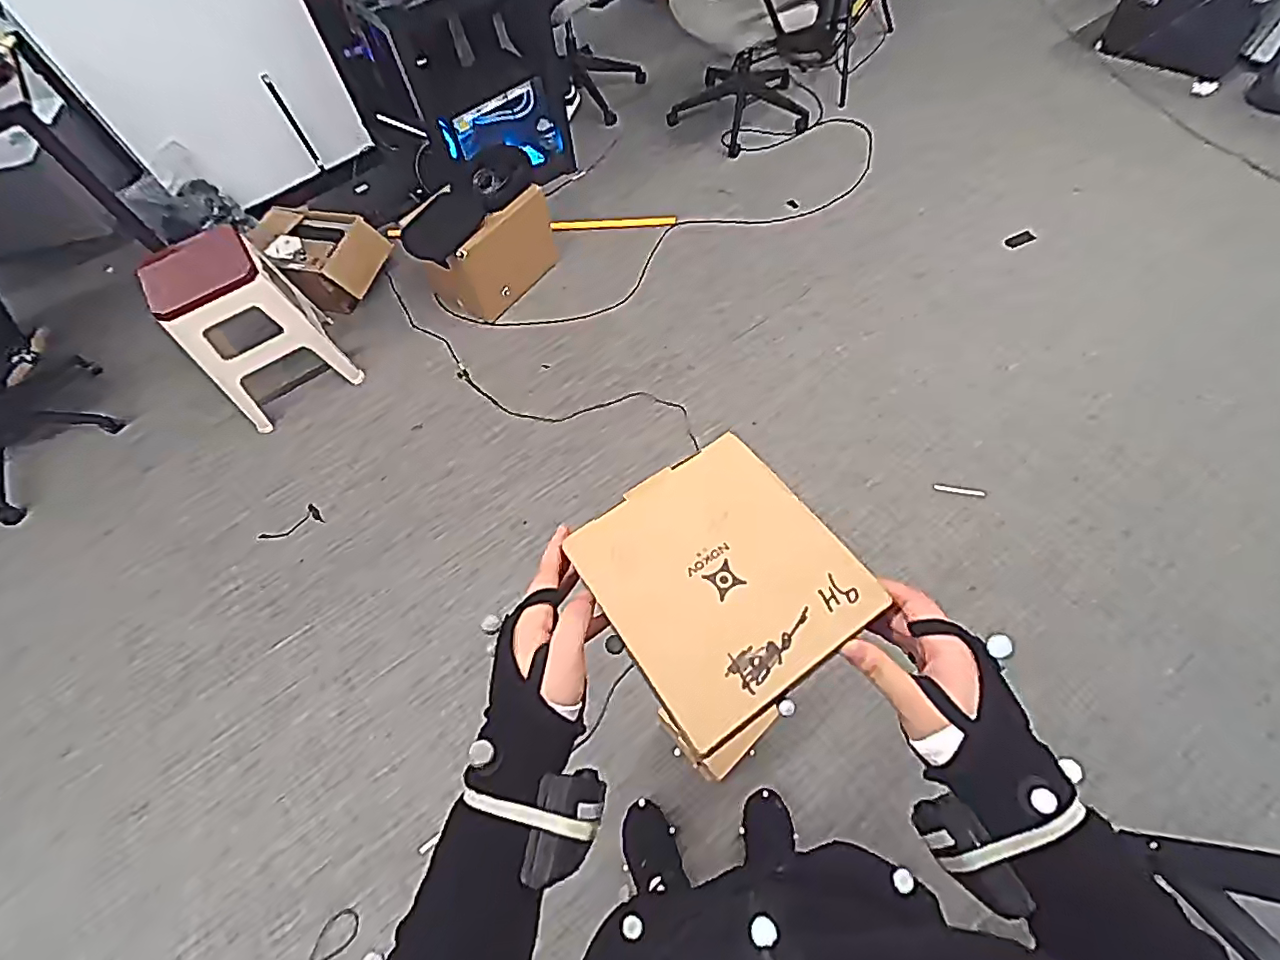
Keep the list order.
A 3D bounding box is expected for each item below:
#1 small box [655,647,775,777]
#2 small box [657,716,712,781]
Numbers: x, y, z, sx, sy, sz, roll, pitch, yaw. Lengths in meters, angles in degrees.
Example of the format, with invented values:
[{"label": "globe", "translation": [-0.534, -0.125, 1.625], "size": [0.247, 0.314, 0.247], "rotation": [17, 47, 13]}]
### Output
[{"label": "small box", "translation": [0.149, 0.478, 1.108], "size": [0.179, 0.176, 0.168], "rotation": [-41, 68, -18]}, {"label": "small box", "translation": [0.156, 0.559, 1.248], "size": [0.179, 0.176, 0.168], "rotation": [-39, 66, -14]}]
